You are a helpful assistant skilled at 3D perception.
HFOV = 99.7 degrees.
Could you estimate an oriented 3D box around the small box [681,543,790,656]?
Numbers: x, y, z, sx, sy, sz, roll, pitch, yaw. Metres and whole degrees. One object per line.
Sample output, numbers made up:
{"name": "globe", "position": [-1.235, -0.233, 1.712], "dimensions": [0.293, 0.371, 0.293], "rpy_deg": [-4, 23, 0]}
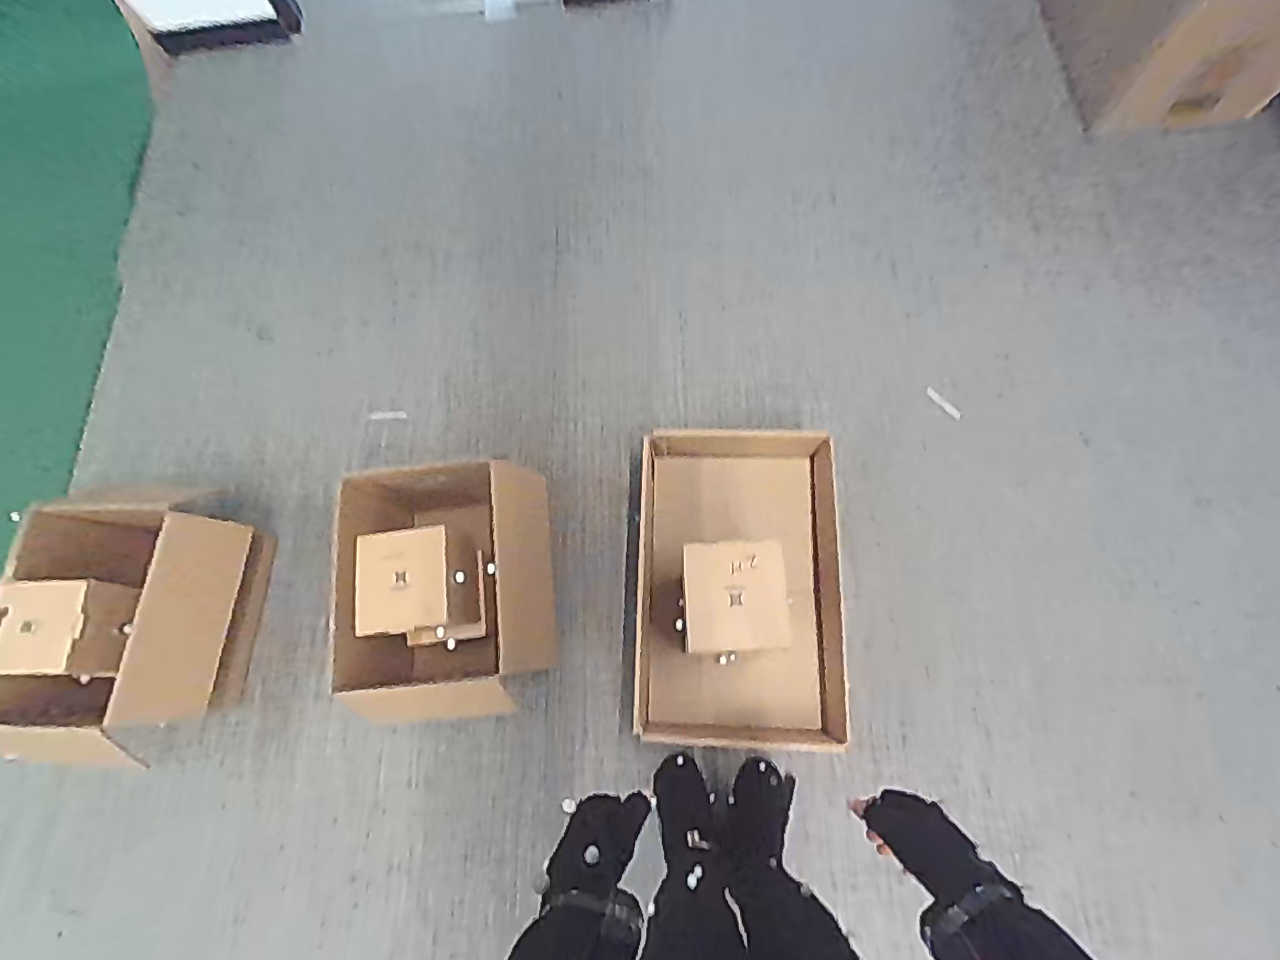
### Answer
{"name": "small box", "position": [0.159, 0.214, 0.950], "dimensions": [0.168, 0.176, 0.179], "rpy_deg": [-3, 72, 3]}

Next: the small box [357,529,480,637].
{"name": "small box", "position": [-0.414, 0.199, 1.033], "dimensions": [0.168, 0.176, 0.179], "rpy_deg": [-7, 75, 2]}
